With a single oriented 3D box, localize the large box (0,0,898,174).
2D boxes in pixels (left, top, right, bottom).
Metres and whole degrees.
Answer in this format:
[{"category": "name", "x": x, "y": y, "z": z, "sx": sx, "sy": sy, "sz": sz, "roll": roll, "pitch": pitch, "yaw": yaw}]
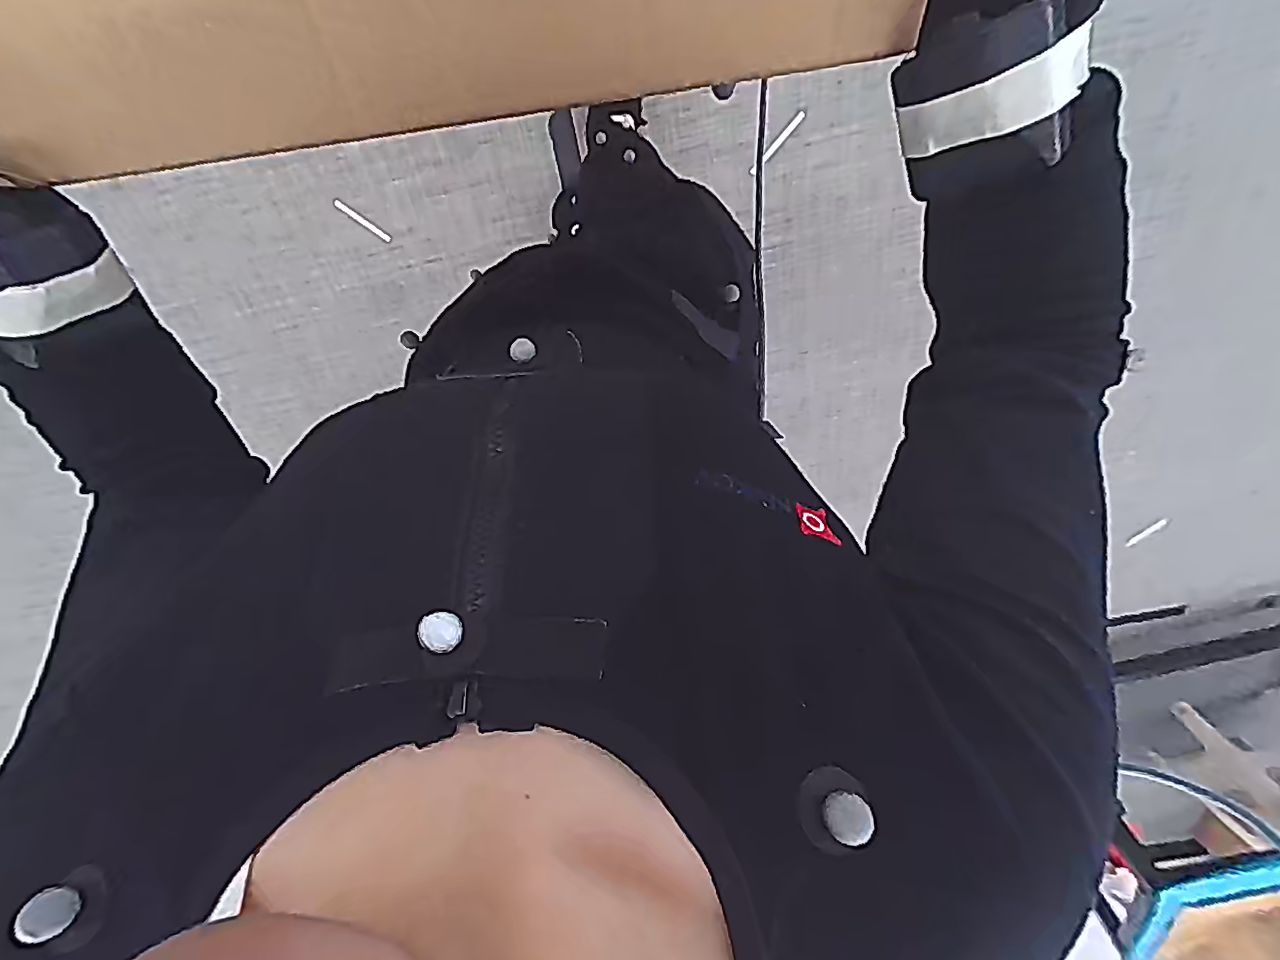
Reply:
[{"category": "large box", "x": -0.113, "y": -0.378, "z": 0.235, "sx": 0.408, "sy": 0.320, "sz": 0.320, "roll": -7, "pitch": 135, "yaw": 1}]
